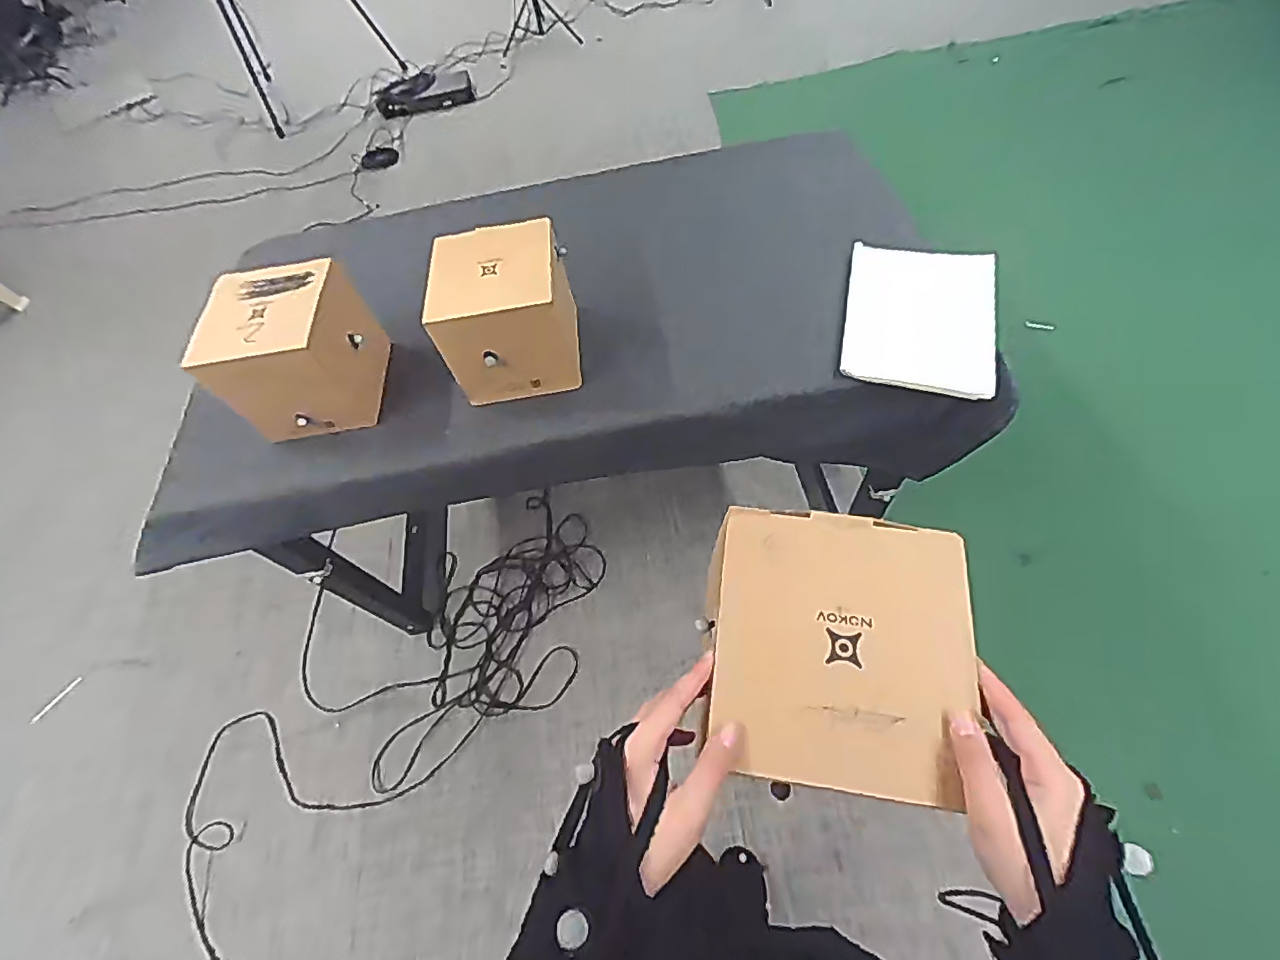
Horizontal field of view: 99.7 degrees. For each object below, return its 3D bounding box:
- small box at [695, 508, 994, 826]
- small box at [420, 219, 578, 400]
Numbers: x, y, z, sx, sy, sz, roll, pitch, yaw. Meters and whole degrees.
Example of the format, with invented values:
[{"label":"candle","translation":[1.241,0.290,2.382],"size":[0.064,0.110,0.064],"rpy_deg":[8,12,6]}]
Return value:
[{"label":"small box","translation":[0.134,0.140,0.417],"size":[0.168,0.176,0.179],"rpy_deg":[6,66,6]},{"label":"small box","translation":[-0.186,-0.229,0.762],"size":[0.168,0.176,0.179],"rpy_deg":[-9,58,3]}]
